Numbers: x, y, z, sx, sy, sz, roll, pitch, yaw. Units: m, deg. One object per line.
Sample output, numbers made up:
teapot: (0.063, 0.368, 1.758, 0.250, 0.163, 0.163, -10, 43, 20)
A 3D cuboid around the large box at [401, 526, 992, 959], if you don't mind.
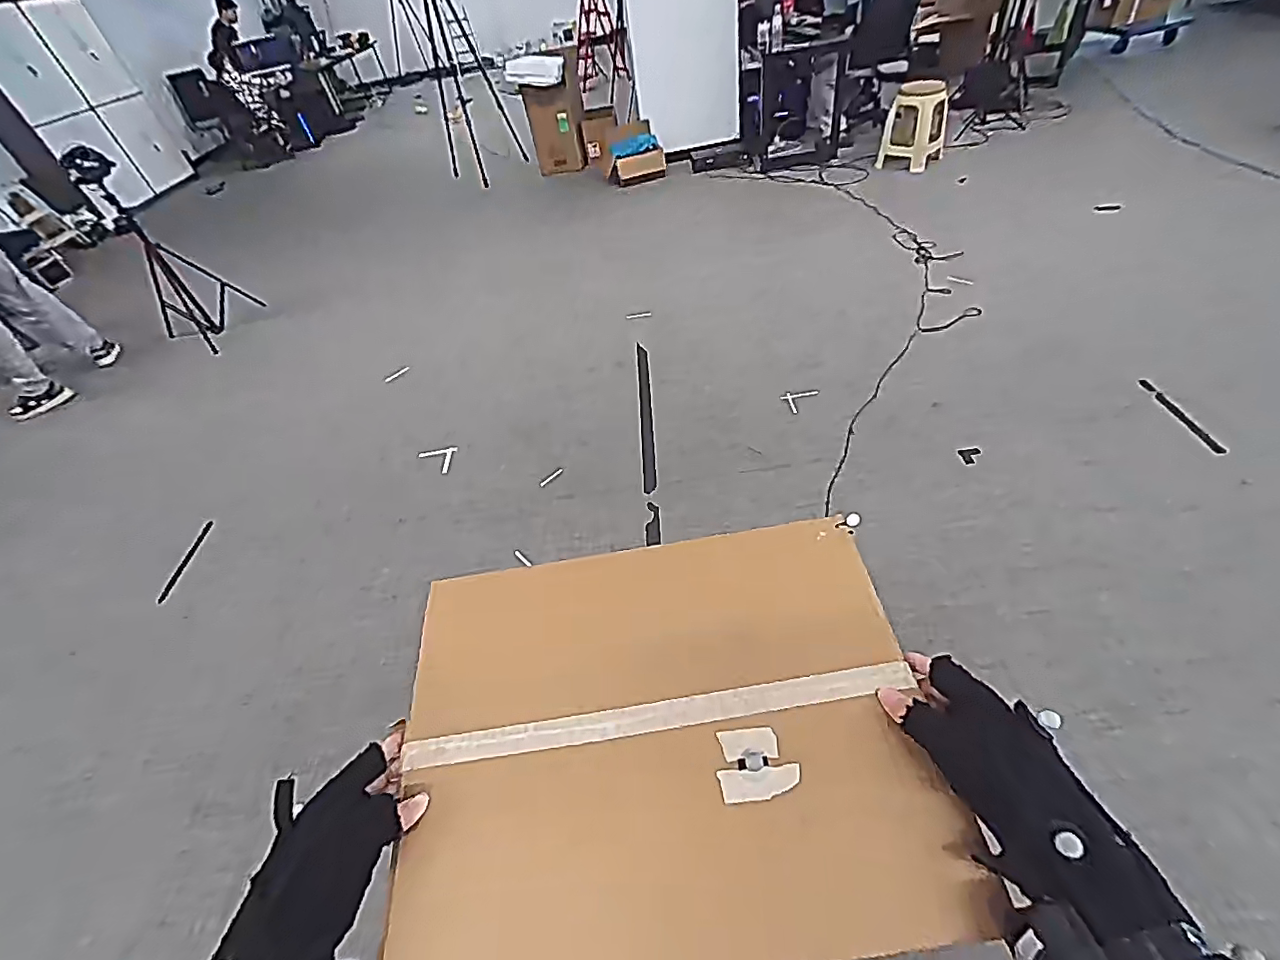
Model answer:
large box: (0.033, 0.288, 0.558, 0.408, 0.320, 0.320, -9, 51, 1)
